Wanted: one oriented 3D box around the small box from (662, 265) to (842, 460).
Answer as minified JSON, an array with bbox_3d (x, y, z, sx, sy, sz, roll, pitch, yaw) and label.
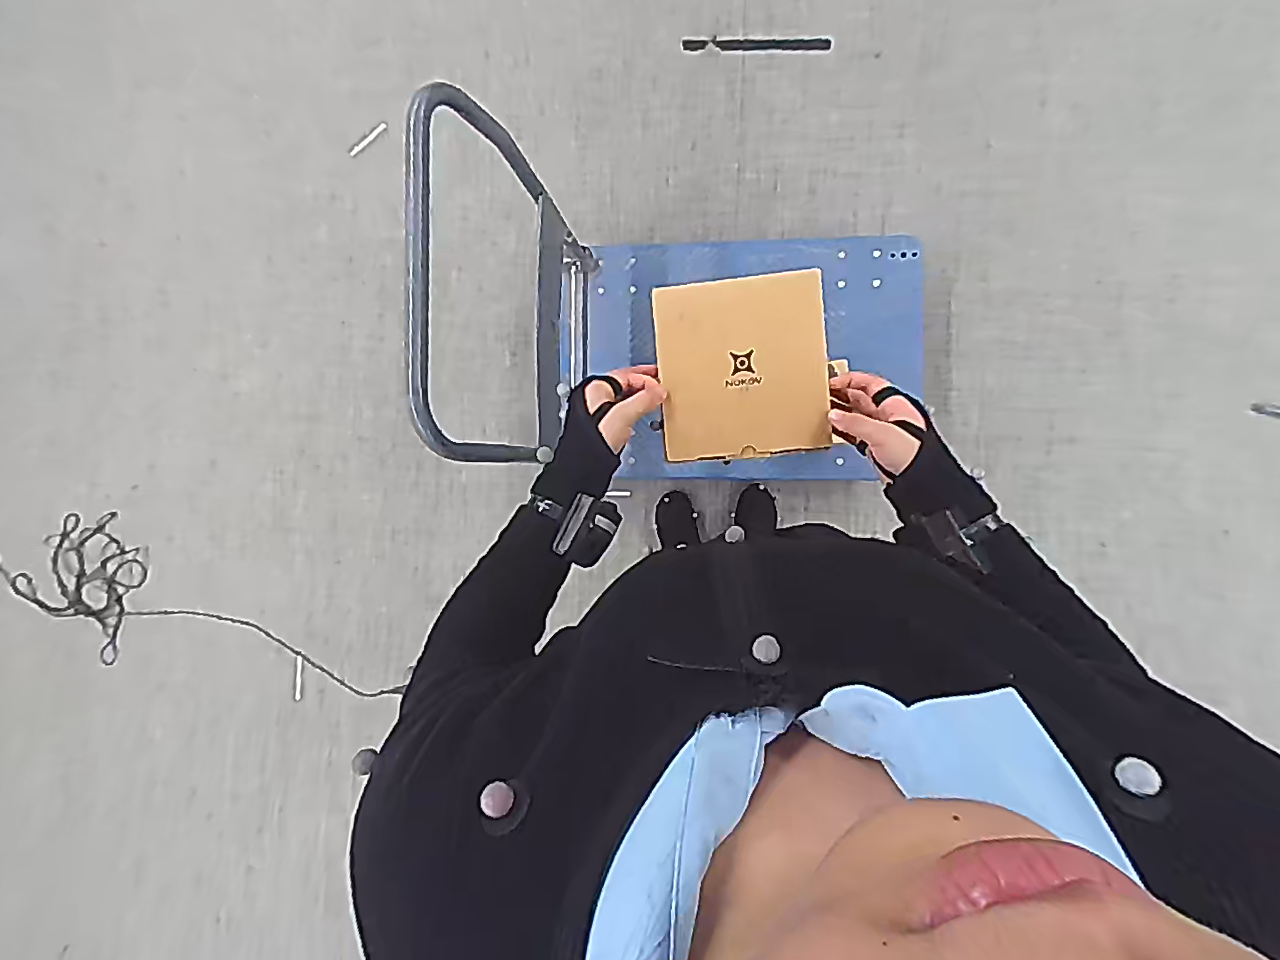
[{"bbox_3d":[0.112,-0.118,0.603,0.168,0.176,0.179,-6,95,4],"label":"small box"}]
